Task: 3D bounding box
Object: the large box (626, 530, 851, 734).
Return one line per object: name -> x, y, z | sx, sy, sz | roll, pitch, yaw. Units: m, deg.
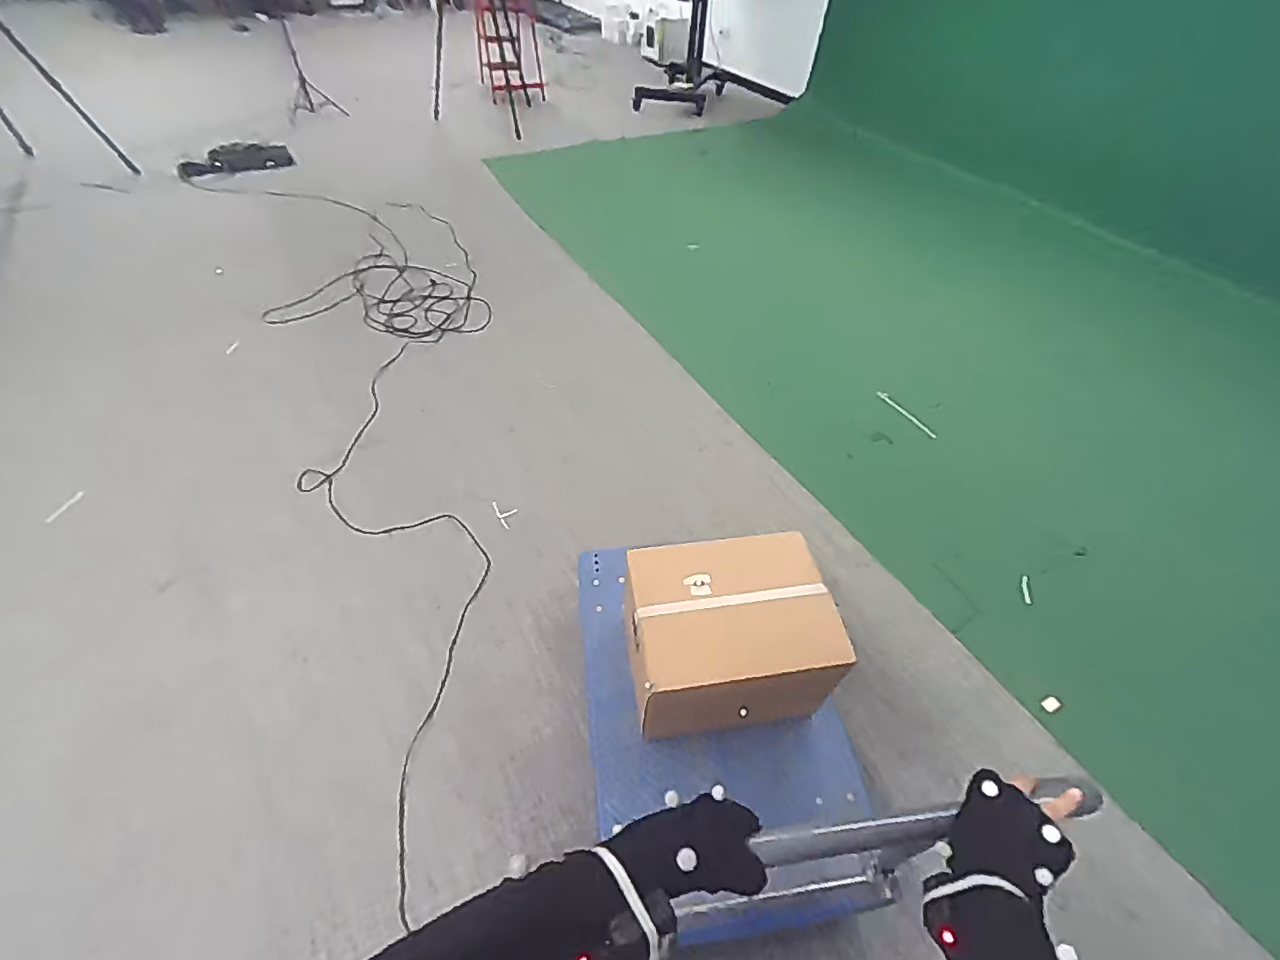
large box -> 0.189, 0.346, 1.227 | 0.408, 0.320, 0.320 | -6, 50, -7
